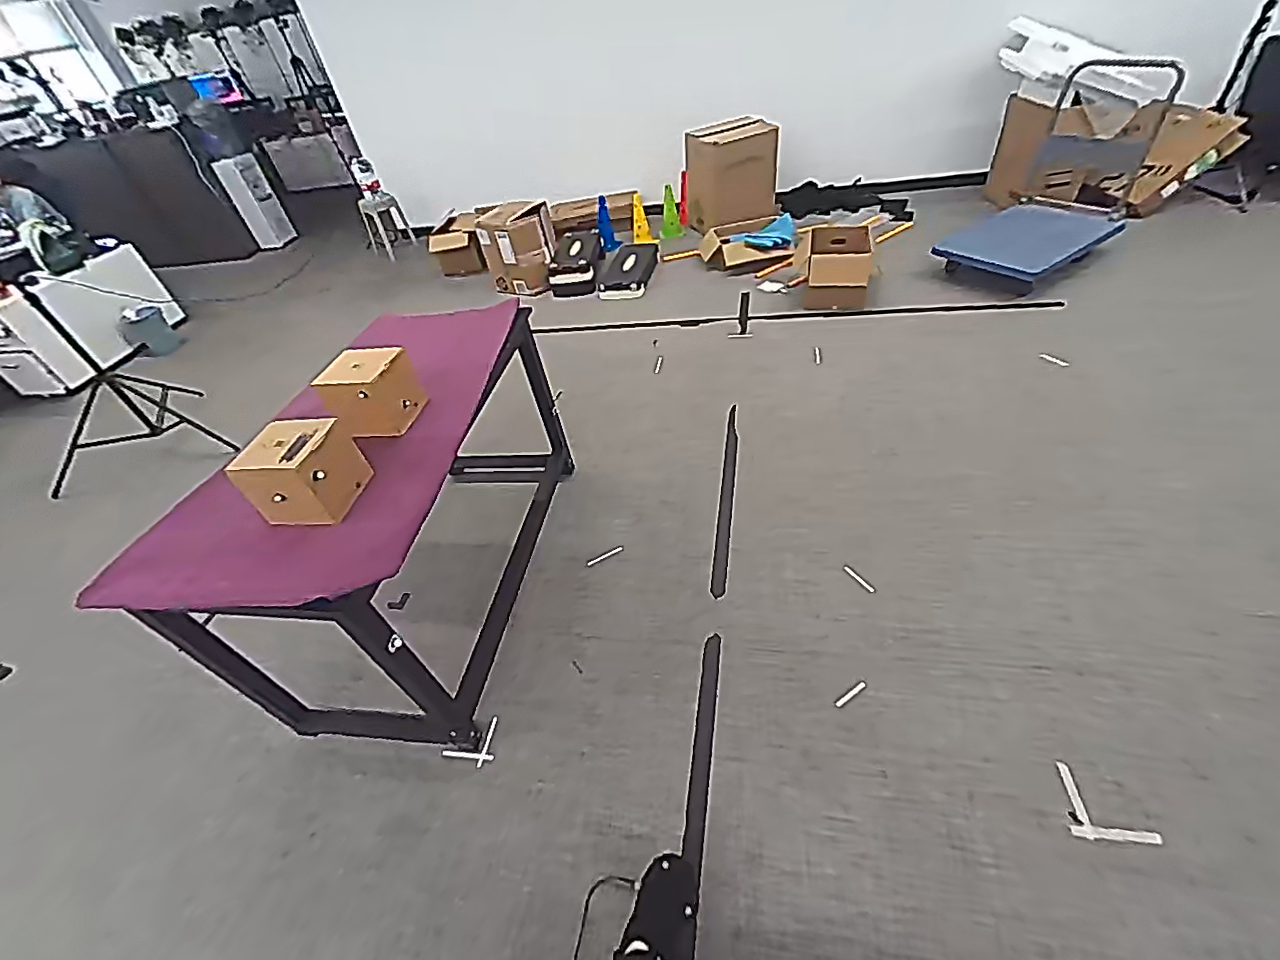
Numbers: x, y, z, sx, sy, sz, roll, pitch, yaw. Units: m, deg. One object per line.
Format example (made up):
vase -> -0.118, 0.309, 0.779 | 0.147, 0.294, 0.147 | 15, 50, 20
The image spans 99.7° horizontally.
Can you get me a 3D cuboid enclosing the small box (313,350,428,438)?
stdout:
small box -> -0.695, -0.222, 1.416 | 0.179, 0.176, 0.168 | 0, 44, 11
